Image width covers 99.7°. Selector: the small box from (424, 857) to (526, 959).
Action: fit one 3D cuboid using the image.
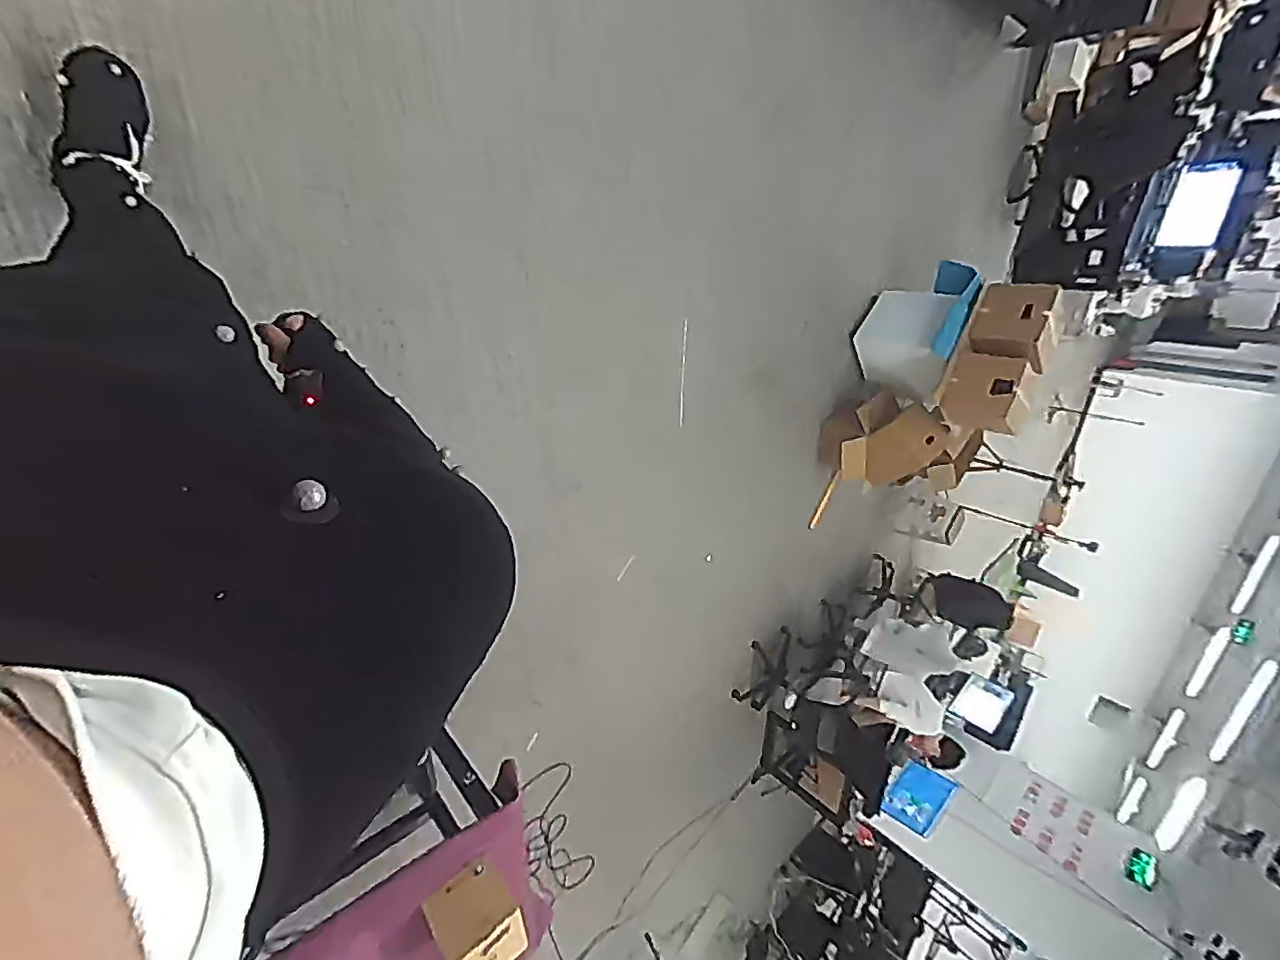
[{"bbox_3d":[-0.394,1.050,1.286,0.168,0.176,0.179,-24,125,-37],"label":"small box"}]
